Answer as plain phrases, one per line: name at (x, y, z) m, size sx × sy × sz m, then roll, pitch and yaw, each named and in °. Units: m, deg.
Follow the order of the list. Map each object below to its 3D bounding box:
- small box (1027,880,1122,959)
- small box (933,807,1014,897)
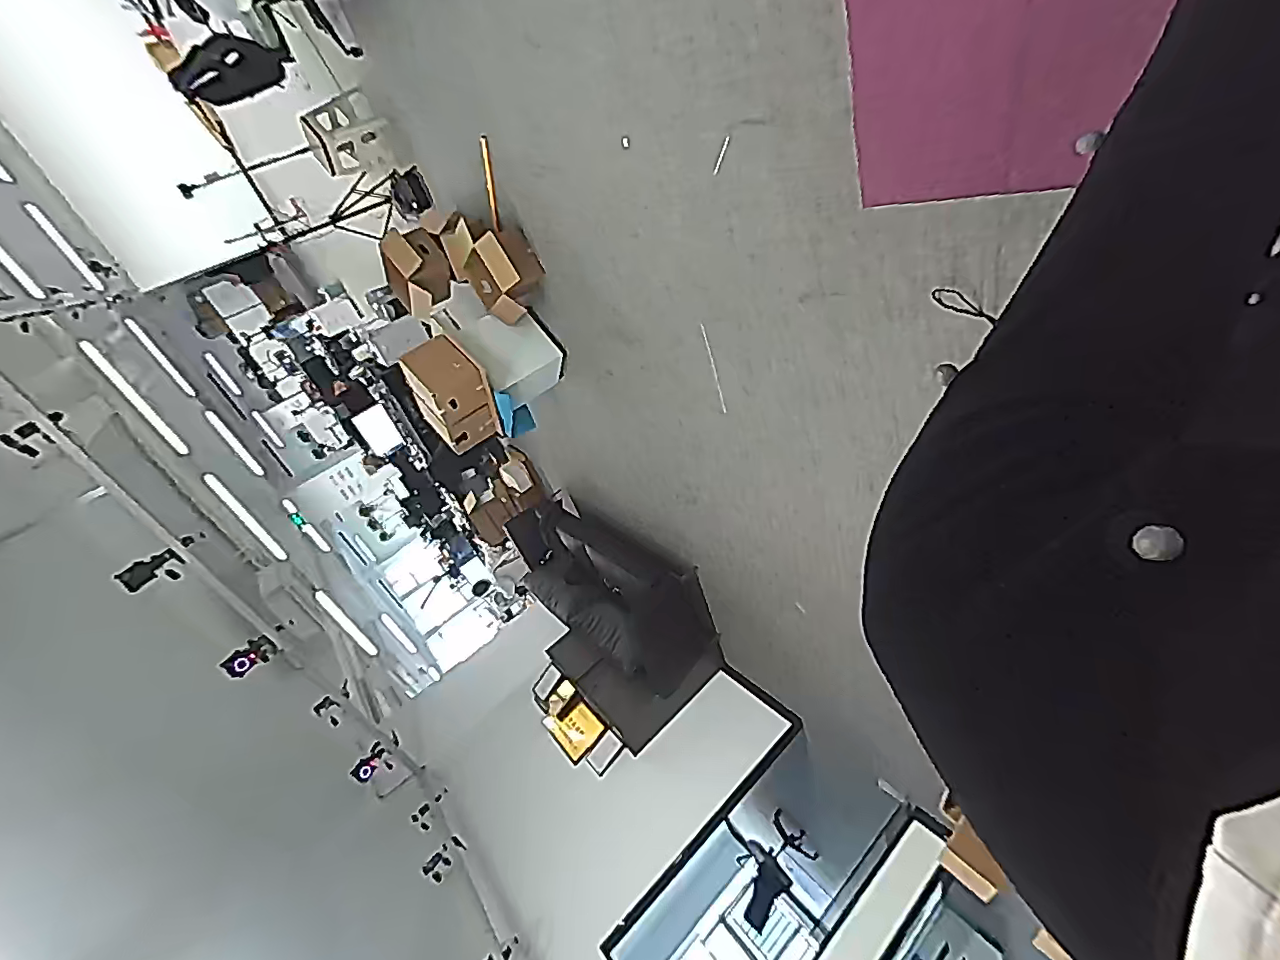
small box at (1.318, 1.371, 1.643) m, size 0.168 × 0.176 × 0.179 m, roll 27°, pitch 147°, yaw 43°
small box at (1.130, 1.257, 1.833) m, size 0.168 × 0.176 × 0.179 m, roll 32°, pitch 149°, yaw 38°
